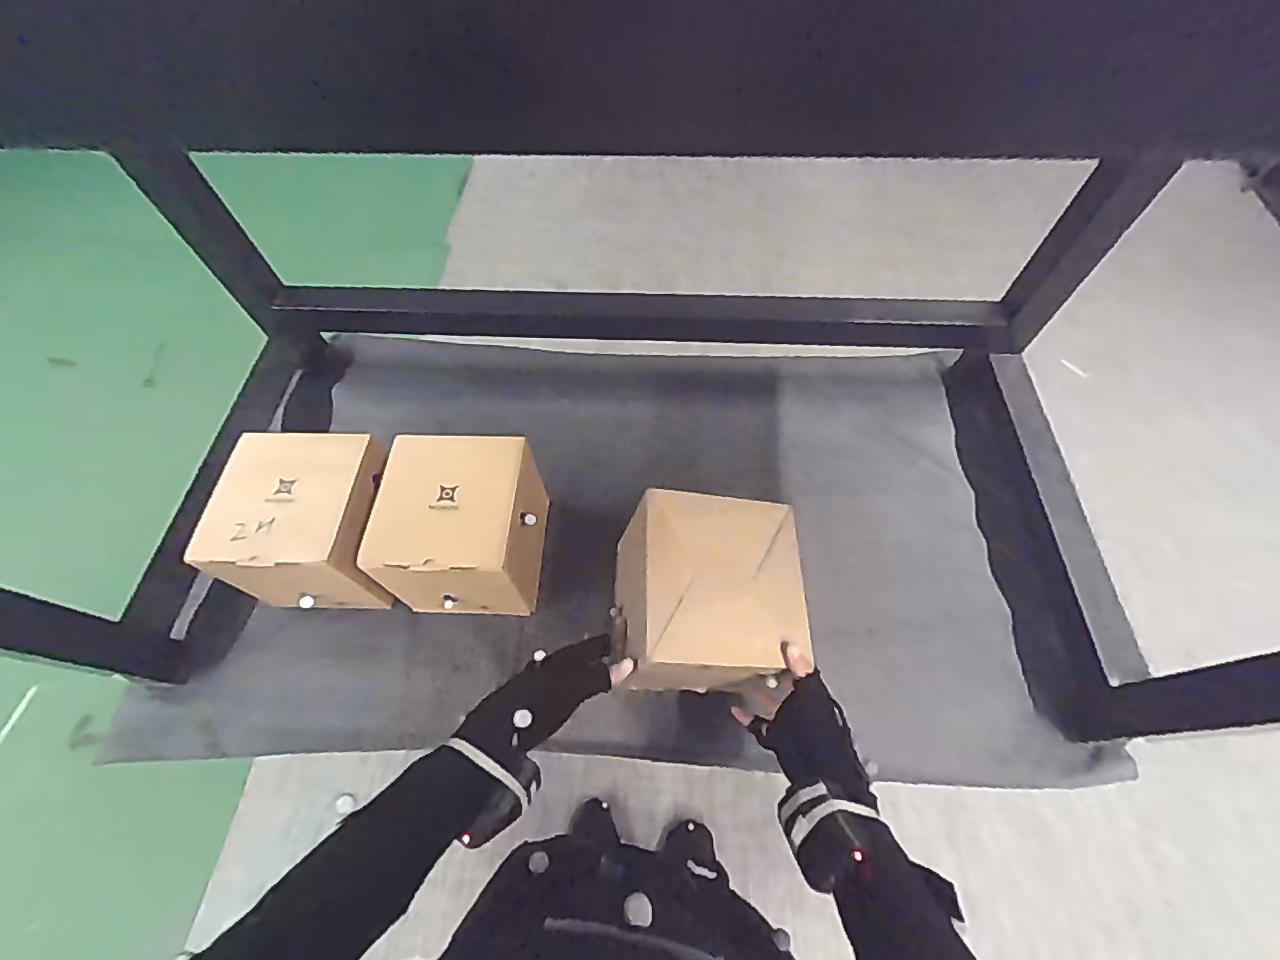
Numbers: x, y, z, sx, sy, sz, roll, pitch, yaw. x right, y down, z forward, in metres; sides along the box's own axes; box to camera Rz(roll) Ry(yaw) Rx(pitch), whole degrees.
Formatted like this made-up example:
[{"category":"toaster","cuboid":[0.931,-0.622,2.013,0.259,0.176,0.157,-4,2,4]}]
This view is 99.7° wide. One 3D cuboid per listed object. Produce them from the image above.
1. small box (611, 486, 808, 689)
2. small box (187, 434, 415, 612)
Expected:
[{"category":"small box","cuboid":[0.065,0.127,0.597,0.168,0.176,0.179,8,62,-14]},{"category":"small box","cuboid":[-0.415,0.059,0.704,0.168,0.176,0.179,0,59,3]}]
